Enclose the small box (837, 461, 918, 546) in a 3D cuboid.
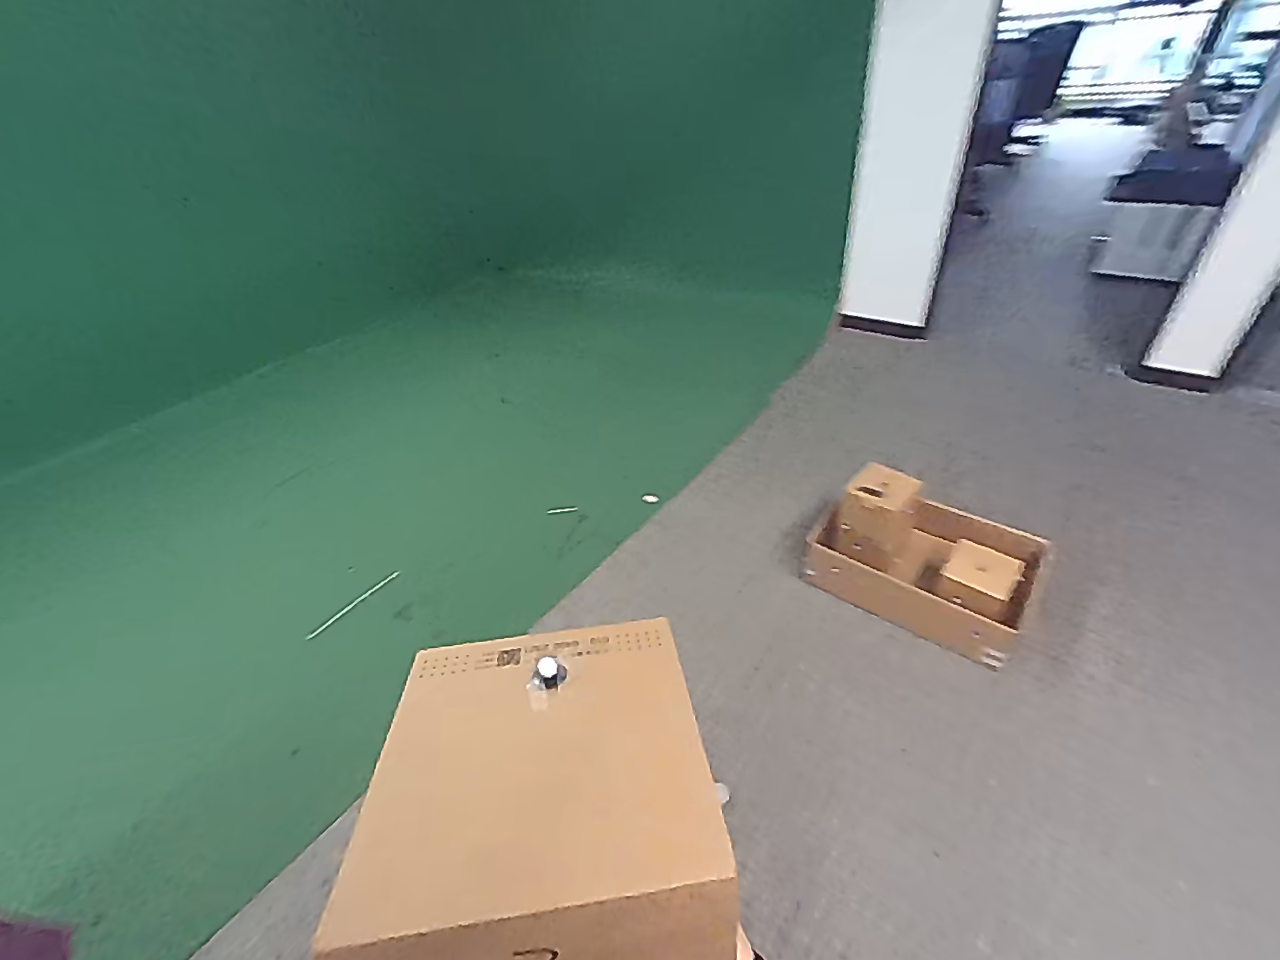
[{"bbox_3d":[0.734,0.075,1.686,0.179,0.176,0.168,-35,48,-30],"label":"small box"}]
